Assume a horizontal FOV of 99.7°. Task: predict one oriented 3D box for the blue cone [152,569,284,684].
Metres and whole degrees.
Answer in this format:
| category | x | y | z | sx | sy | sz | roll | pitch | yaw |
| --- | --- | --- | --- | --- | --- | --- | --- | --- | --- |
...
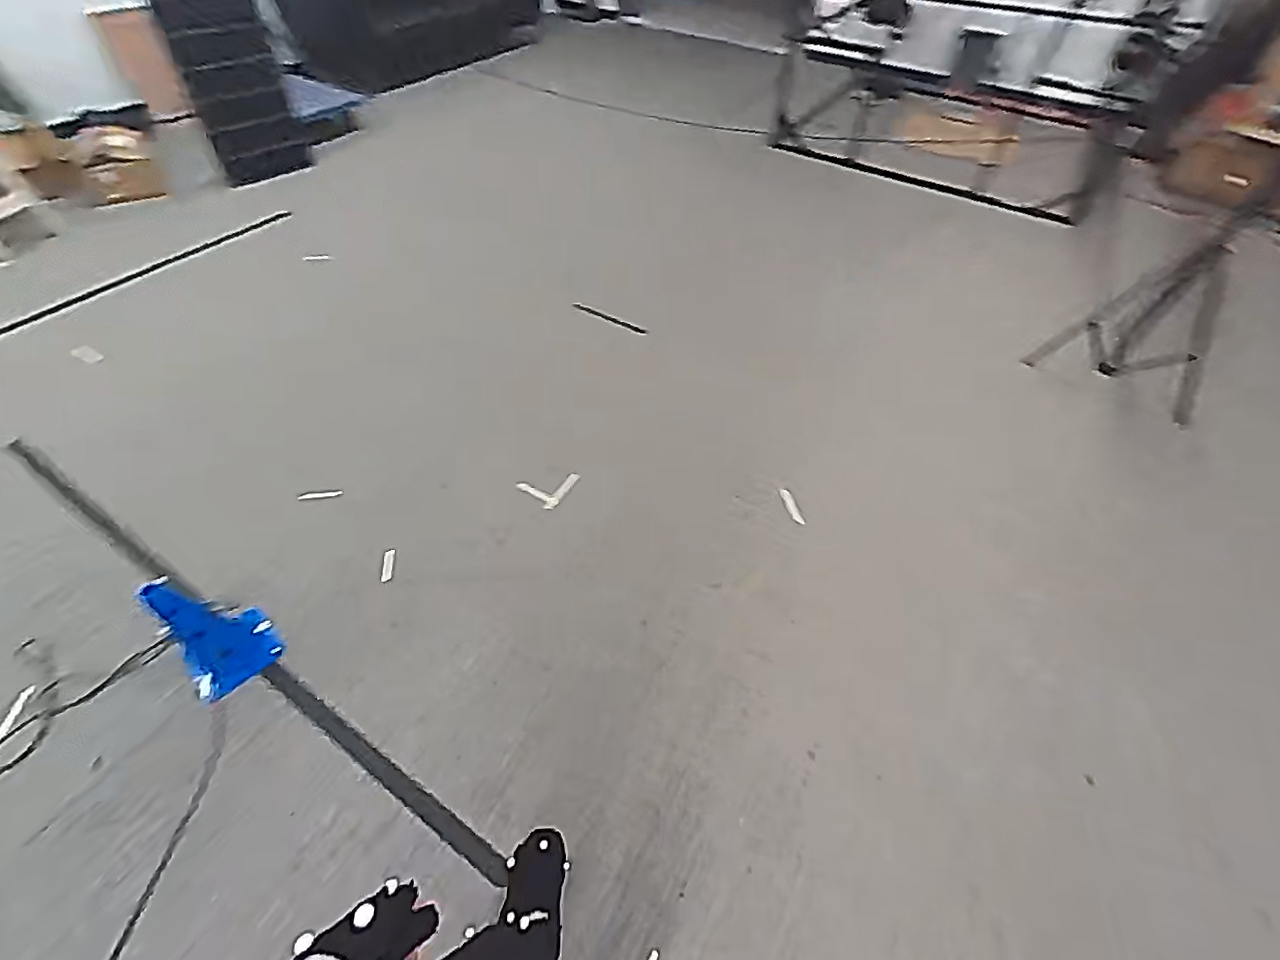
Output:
| category | x | y | z | sx | sy | sz | roll | pitch | yaw |
| --- | --- | --- | --- | --- | --- | --- | --- | --- | --- |
| blue cone | -1.082 | 0.333 | 1.337 | 0.192 | 0.380 | 0.193 | -34 | 61 | -28 |
